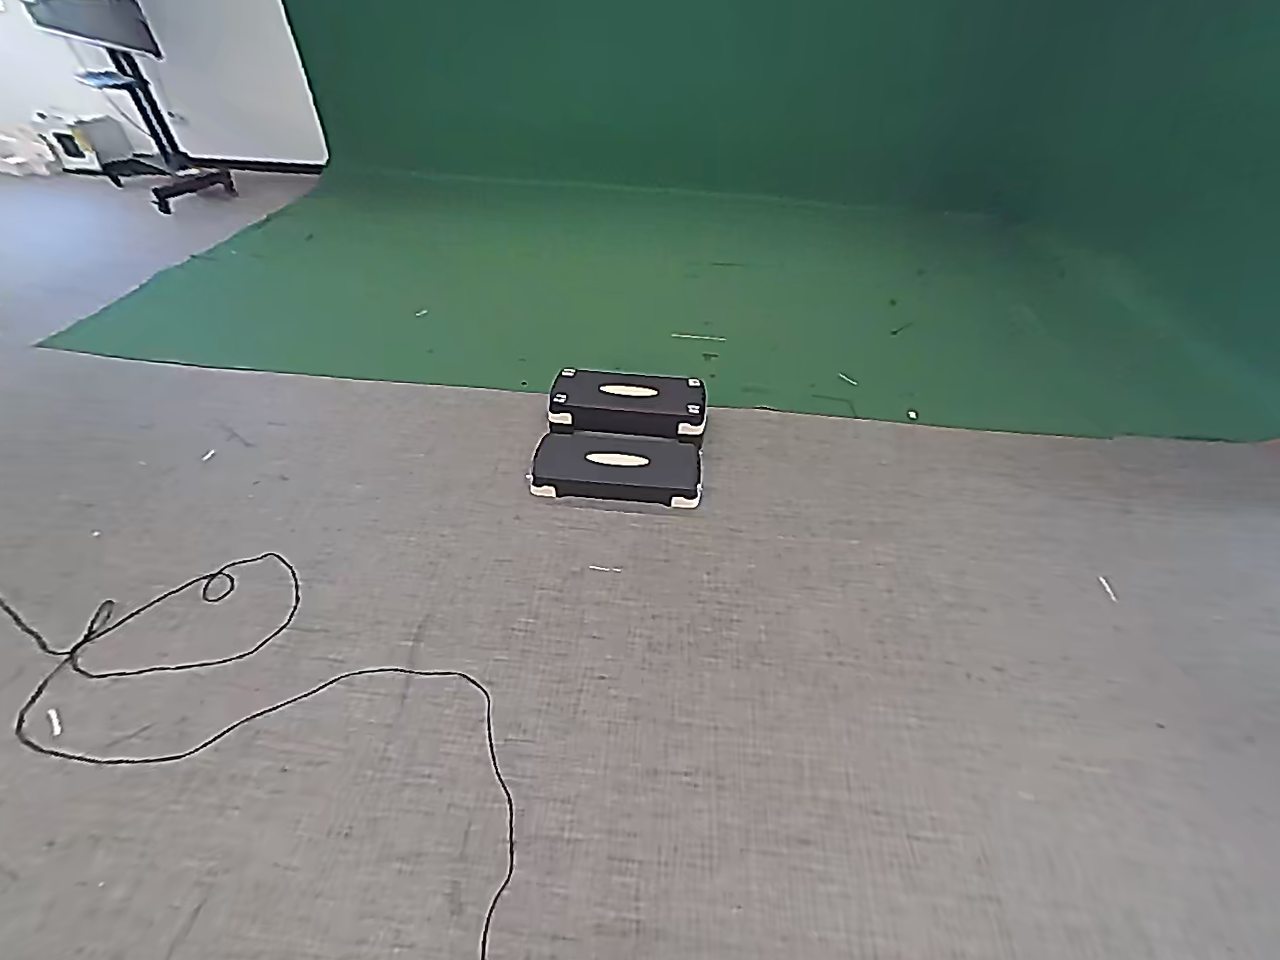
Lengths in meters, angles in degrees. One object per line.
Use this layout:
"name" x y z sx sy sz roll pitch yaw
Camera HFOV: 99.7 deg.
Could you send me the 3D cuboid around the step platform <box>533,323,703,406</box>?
"step platform" -0.088 -0.481 2.256 0.684 0.204 0.286 4 44 3
